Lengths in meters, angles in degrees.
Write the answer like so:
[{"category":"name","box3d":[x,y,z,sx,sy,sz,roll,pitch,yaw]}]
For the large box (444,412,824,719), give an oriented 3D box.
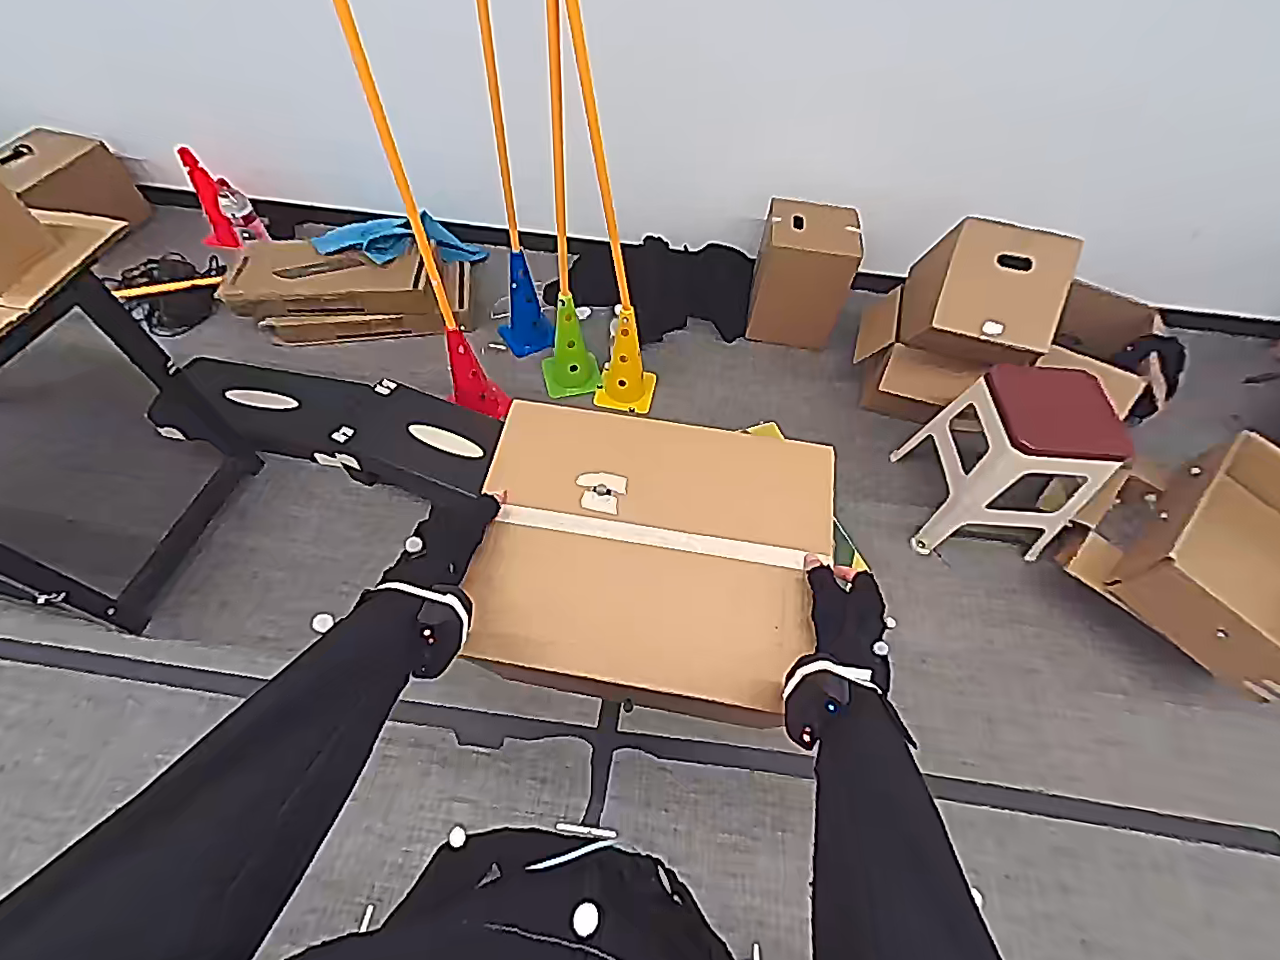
[{"category":"large box","box3d":[0.012,0.138,0.755,0.408,0.320,0.320,9,64,4]}]
